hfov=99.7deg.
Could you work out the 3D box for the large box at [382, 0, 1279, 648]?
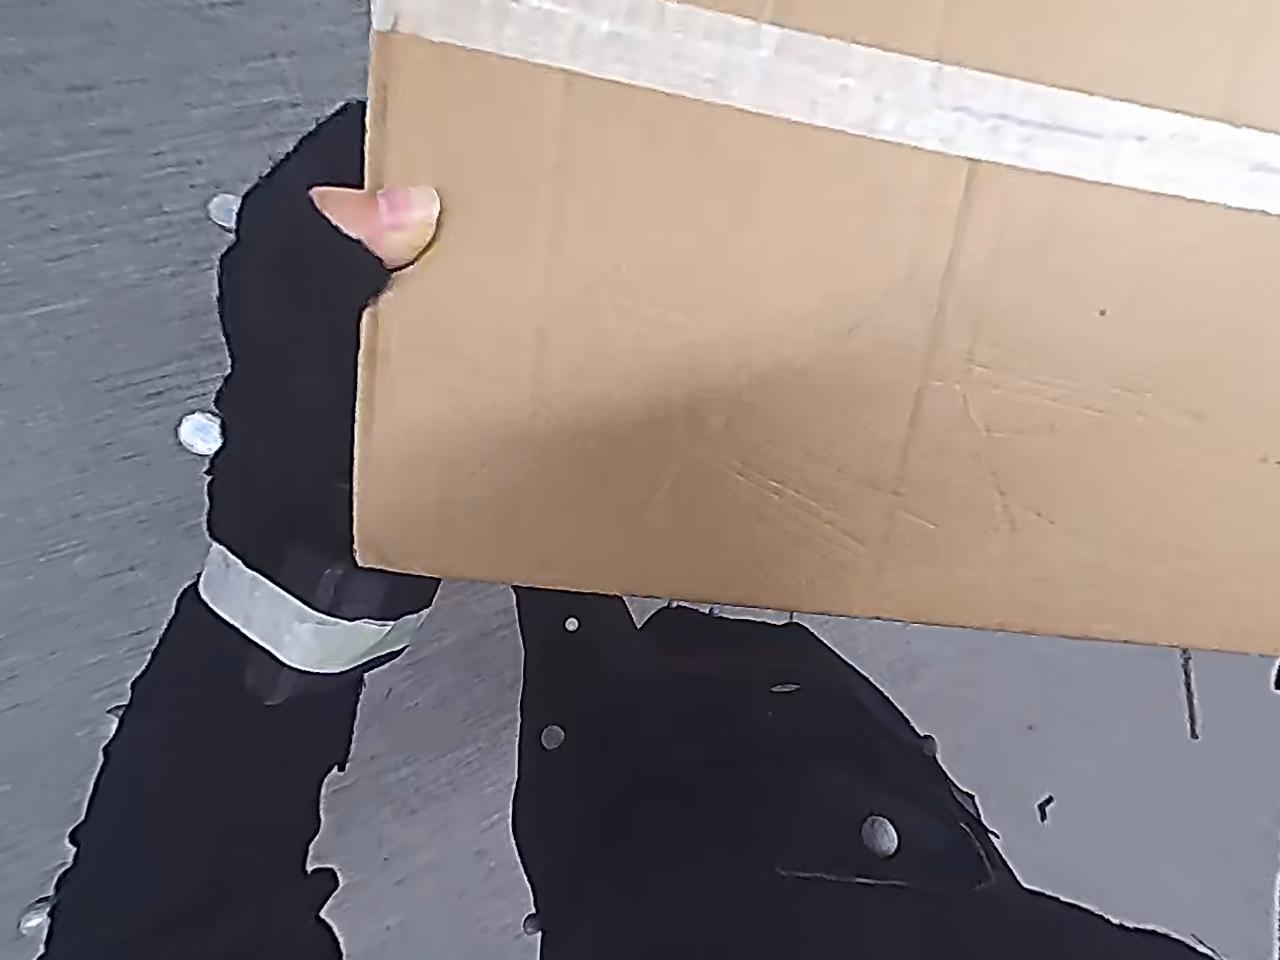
[{"bbox_3d":[0.114,-0.128,0.318,0.408,0.320,0.320,6,102,-7],"label":"large box"}]
